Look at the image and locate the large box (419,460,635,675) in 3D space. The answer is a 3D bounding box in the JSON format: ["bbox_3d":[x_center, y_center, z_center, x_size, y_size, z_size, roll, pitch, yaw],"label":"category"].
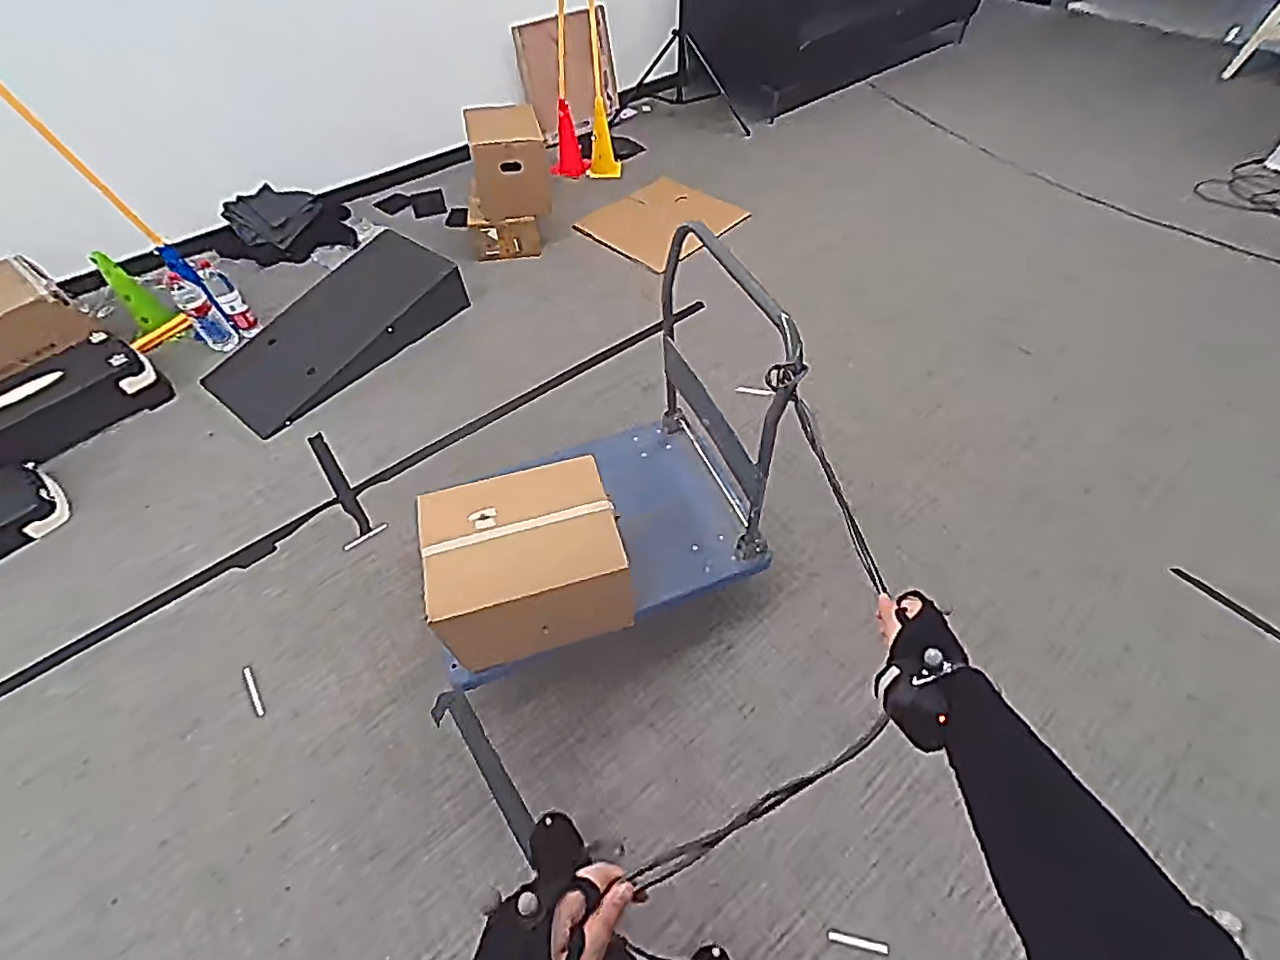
[{"bbox_3d":[-0.249,0.207,1.258,0.408,0.320,0.320,-15,54,-9],"label":"large box"}]
